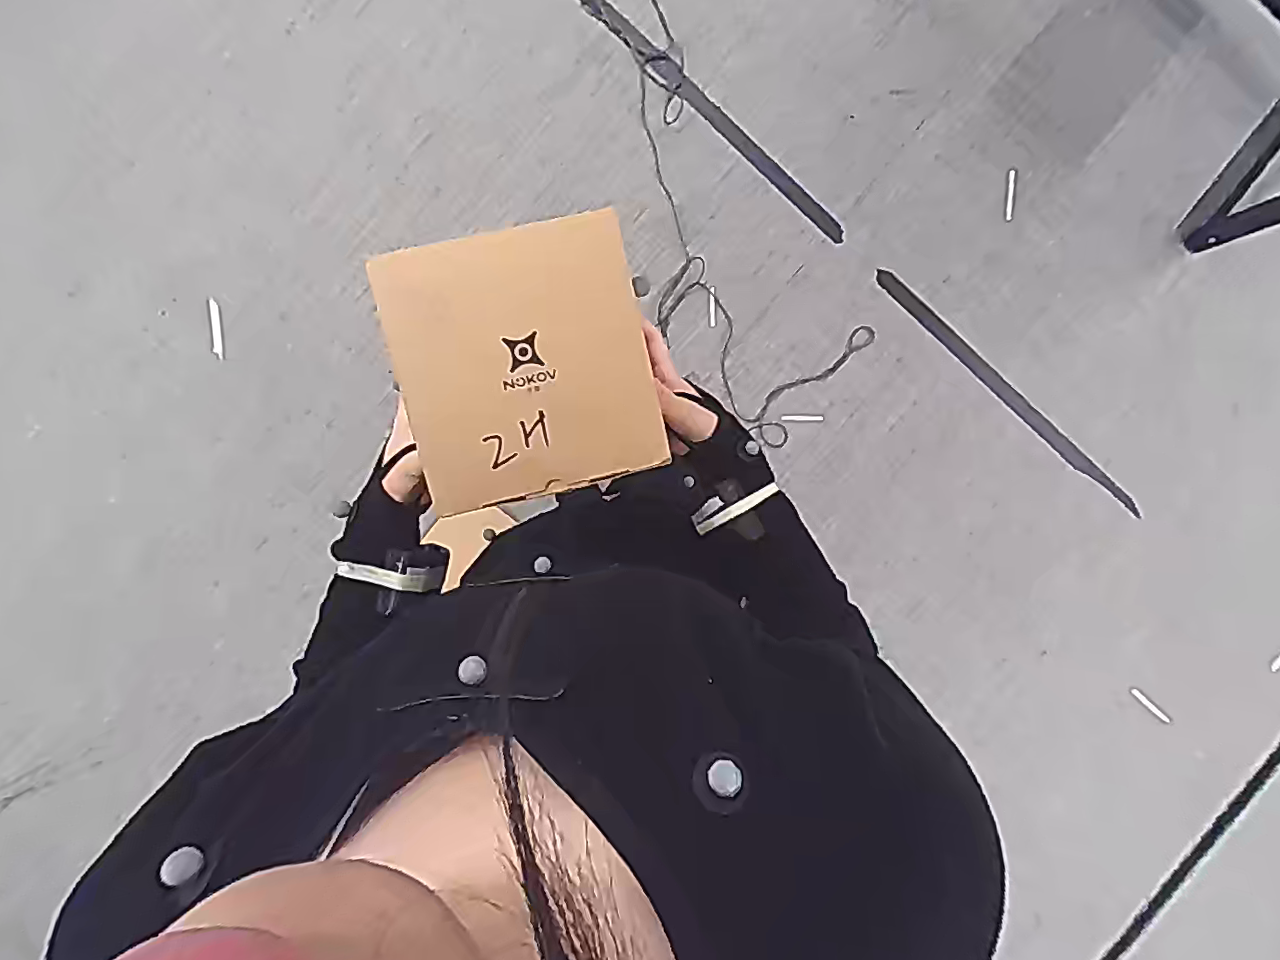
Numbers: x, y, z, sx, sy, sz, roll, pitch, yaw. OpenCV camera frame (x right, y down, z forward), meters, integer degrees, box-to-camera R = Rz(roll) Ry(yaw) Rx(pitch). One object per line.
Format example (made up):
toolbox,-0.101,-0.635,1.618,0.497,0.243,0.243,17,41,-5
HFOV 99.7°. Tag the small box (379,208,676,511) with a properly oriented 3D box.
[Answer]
small box,-0.080,-0.086,0.437,0.168,0.176,0.179,-13,97,-4

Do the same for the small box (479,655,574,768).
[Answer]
small box,-0.285,0.592,1.407,0.168,0.176,0.179,-42,95,-2
